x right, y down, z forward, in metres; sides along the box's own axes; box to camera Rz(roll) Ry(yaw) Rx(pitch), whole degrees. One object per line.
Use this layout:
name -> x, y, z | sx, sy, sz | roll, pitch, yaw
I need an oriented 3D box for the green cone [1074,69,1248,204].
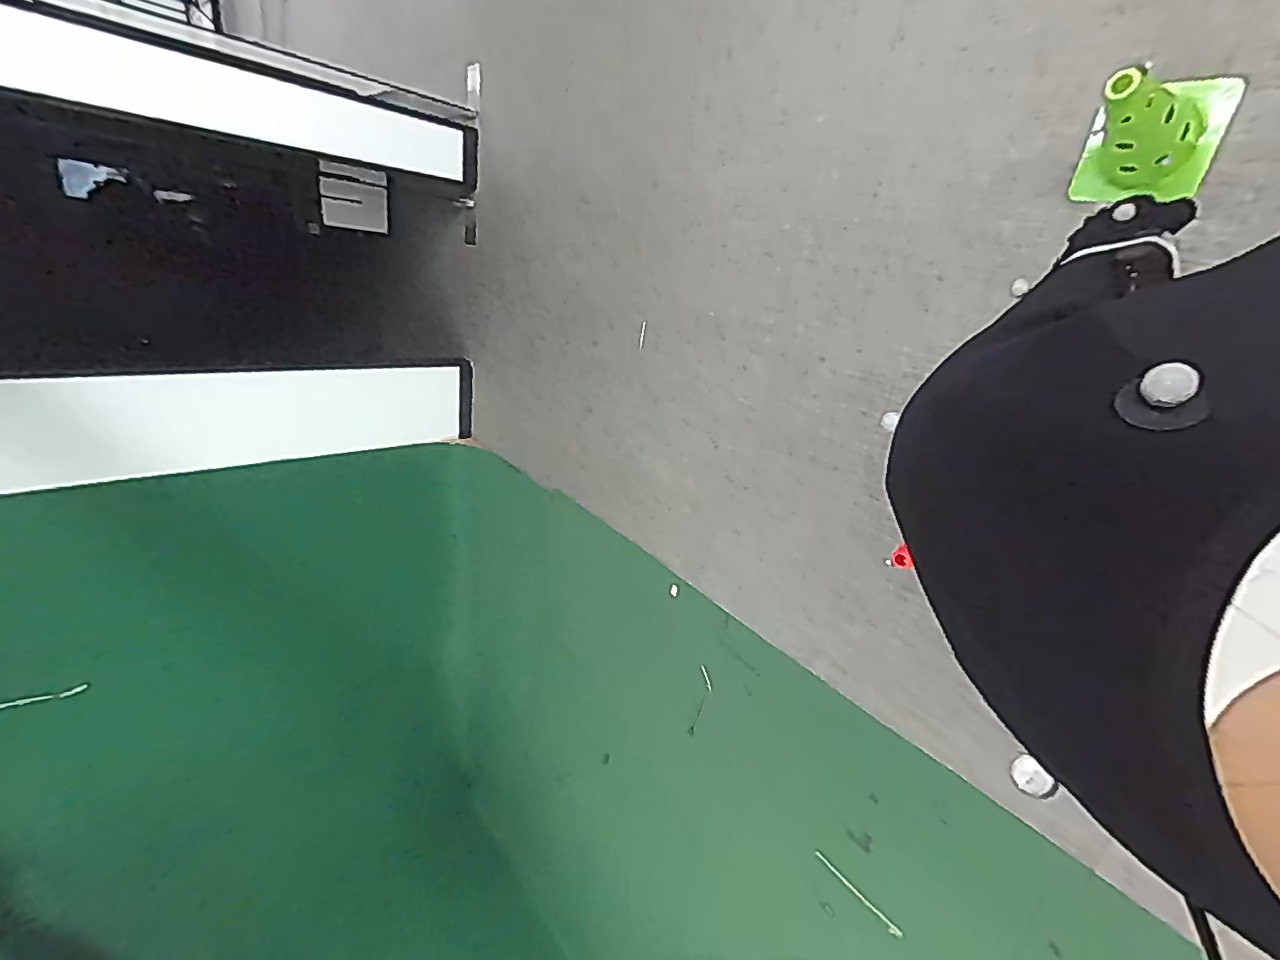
green cone -> 0.856, -0.610, 0.918 | 0.202, 0.368, 0.200 | 28, 120, 40
